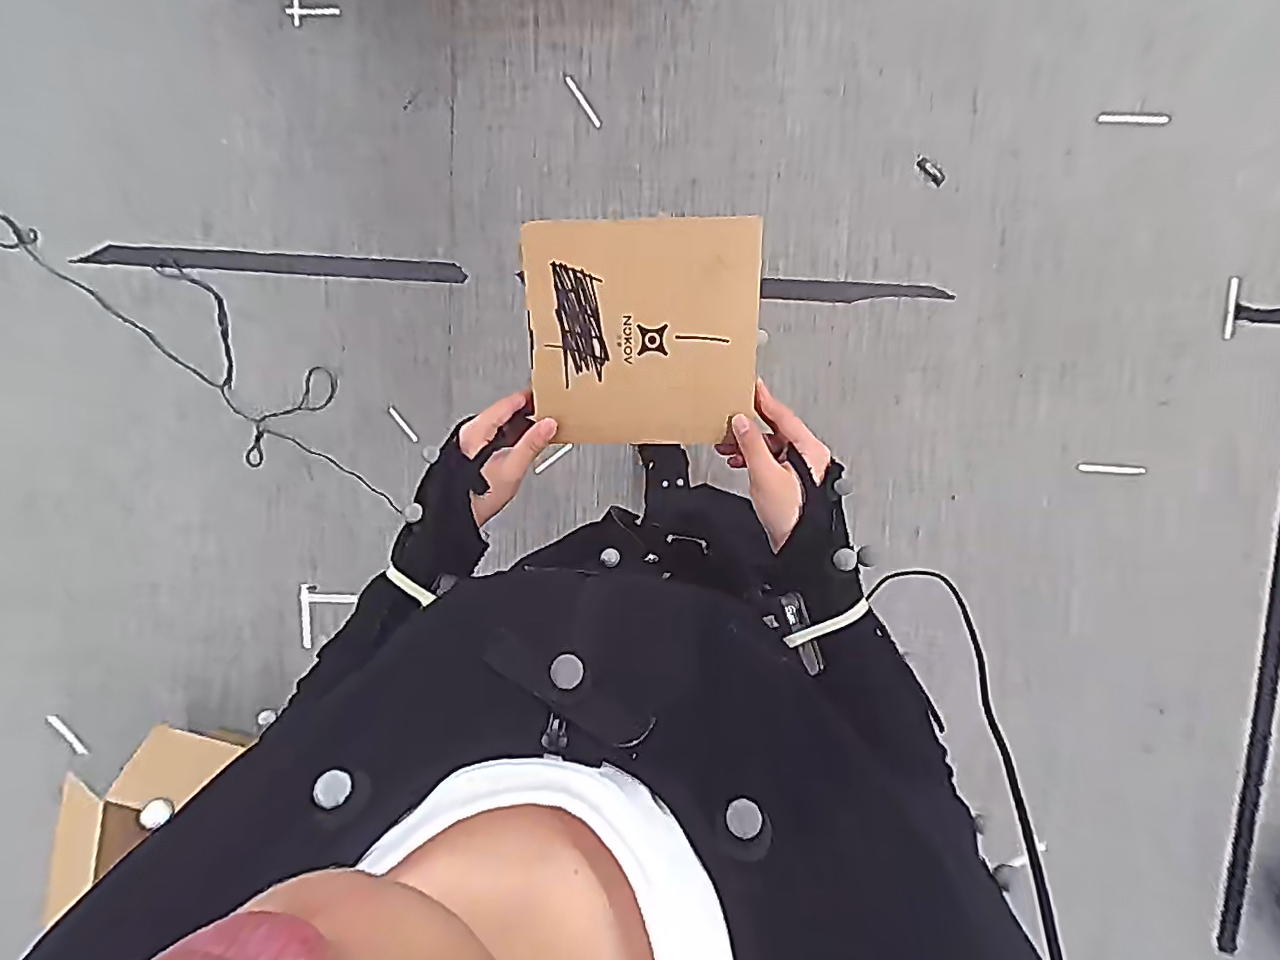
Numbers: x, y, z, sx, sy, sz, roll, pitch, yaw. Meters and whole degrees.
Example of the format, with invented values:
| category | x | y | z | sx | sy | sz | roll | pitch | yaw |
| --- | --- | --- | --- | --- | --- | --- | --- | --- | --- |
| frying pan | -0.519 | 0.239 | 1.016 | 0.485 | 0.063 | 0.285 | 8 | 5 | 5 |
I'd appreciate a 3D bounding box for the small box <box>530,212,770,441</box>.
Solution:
| category | x | y | z | sx | sy | sz | roll | pitch | yaw |
| --- | --- | --- | --- | --- | --- | --- | --- | --- | --- |
| small box | 0.014 | -0.134 | 0.484 | 0.179 | 0.176 | 0.168 | 2 | 107 | 6 |
